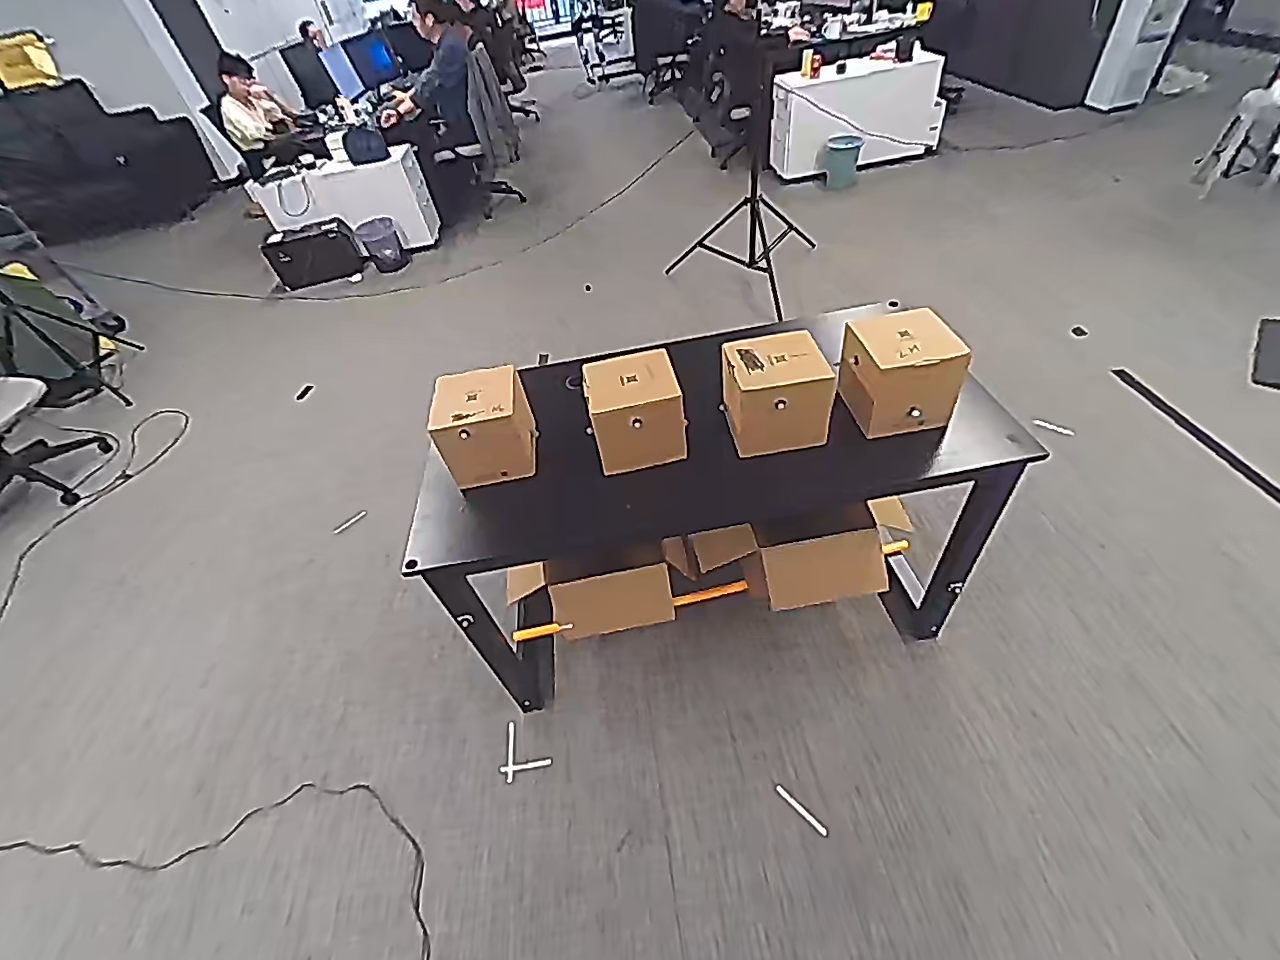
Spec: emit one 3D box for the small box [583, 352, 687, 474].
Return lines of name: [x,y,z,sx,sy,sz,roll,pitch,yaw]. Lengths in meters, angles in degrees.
small box: [-0.009,-0.132,1.100,0.179,0.176,0.168,-12,46,-2]

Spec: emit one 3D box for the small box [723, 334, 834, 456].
small box: [0.268,-0.165,1.077,0.179,0.176,0.168,-9,45,2]

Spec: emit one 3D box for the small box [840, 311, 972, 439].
small box: [0.510,-0.206,1.070,0.168,0.176,0.179,-10,45,3]

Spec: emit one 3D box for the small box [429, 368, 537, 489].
small box: [-0.318,-0.106,1.129,0.168,0.176,0.179,-11,45,0]
